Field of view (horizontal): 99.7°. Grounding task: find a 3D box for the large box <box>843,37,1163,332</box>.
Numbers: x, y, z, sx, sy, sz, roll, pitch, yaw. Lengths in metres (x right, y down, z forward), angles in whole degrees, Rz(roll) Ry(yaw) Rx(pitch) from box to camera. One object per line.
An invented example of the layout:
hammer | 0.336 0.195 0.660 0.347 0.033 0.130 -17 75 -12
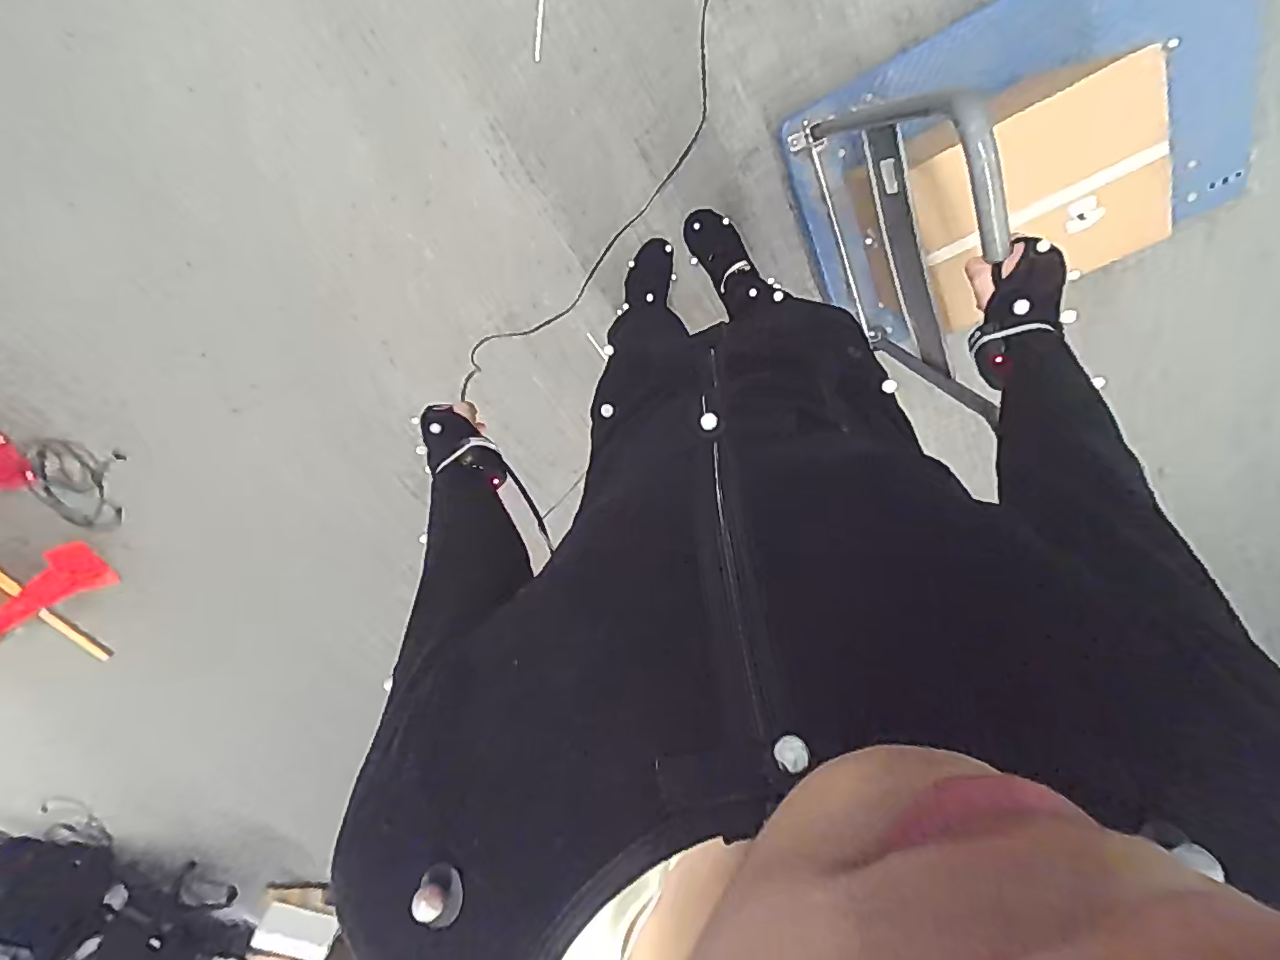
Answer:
large box | 0.681 -0.554 1.067 0.408 0.320 0.320 -24 117 14
